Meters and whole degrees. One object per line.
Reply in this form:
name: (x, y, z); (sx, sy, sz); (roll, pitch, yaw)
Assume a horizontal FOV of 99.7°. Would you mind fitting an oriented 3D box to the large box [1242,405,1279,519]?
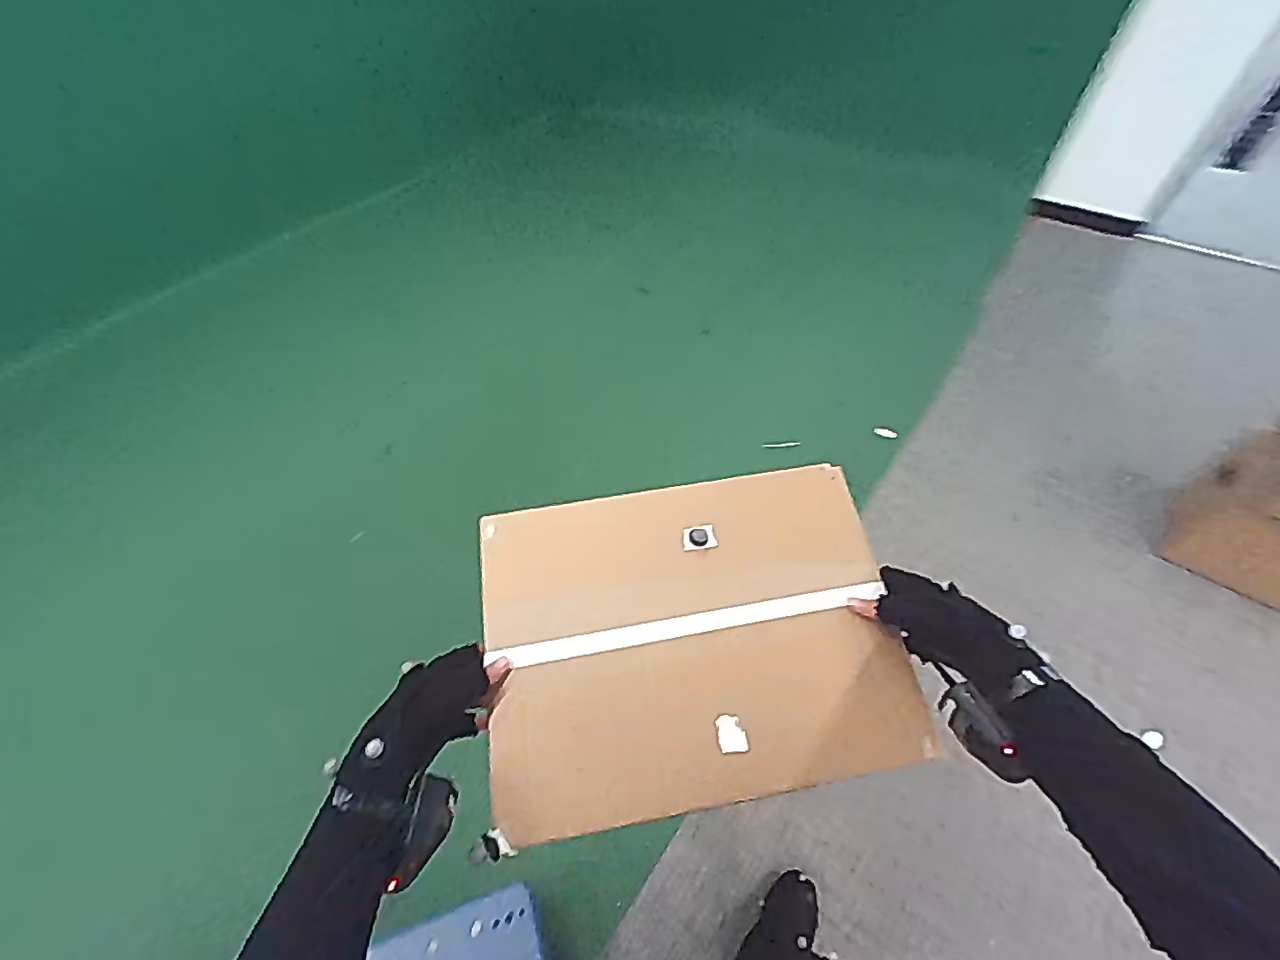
large box: (1.712, -0.042, 1.192); (0.408, 0.320, 0.320); (28, 61, 22)
